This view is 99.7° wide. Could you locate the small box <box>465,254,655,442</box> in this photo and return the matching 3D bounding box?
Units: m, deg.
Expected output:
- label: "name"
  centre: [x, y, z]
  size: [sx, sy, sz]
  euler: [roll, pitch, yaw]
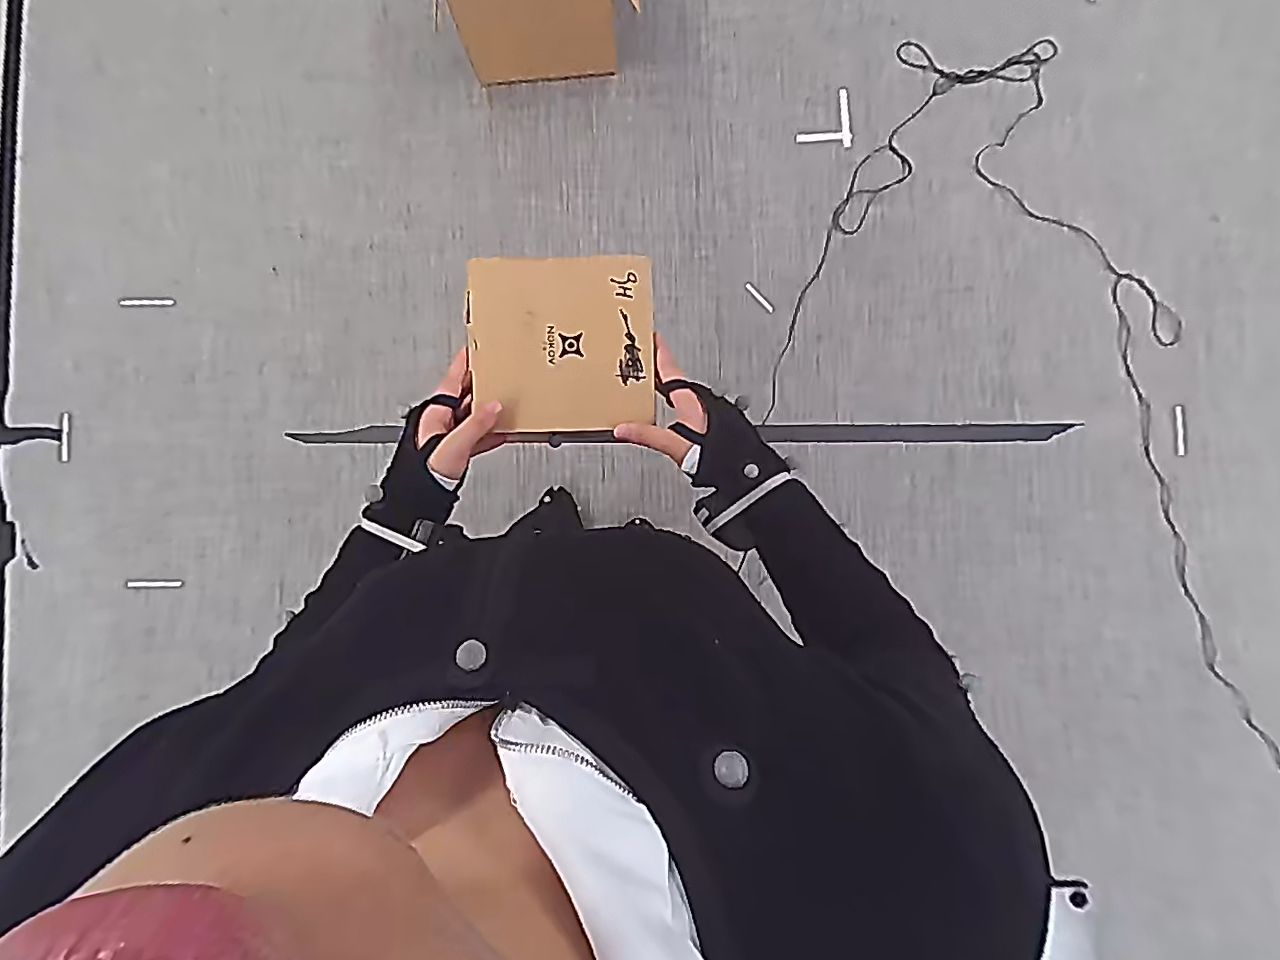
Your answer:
- label: "small box"
  centre: [-0.076, -0.128, 0.581]
  size: [0.179, 0.176, 0.168]
  euler: [-2, 91, -3]
